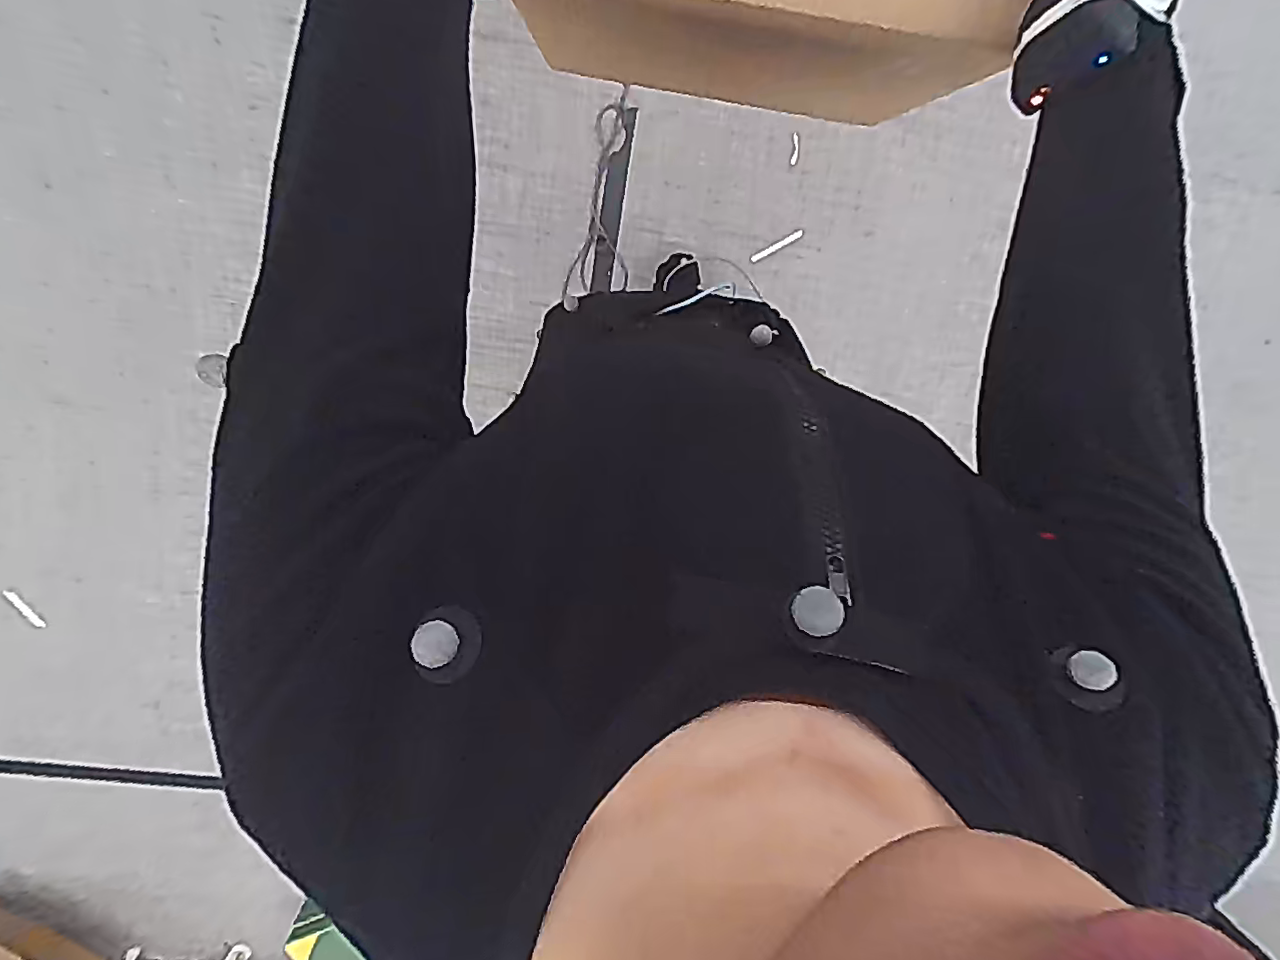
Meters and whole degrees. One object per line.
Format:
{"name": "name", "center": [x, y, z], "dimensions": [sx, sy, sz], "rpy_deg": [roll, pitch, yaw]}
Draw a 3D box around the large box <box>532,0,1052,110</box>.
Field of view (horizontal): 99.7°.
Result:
{"name": "large box", "center": [0.115, -0.549, 0.457], "dimensions": [0.408, 0.320, 0.320], "rpy_deg": [7, 116, -4]}
